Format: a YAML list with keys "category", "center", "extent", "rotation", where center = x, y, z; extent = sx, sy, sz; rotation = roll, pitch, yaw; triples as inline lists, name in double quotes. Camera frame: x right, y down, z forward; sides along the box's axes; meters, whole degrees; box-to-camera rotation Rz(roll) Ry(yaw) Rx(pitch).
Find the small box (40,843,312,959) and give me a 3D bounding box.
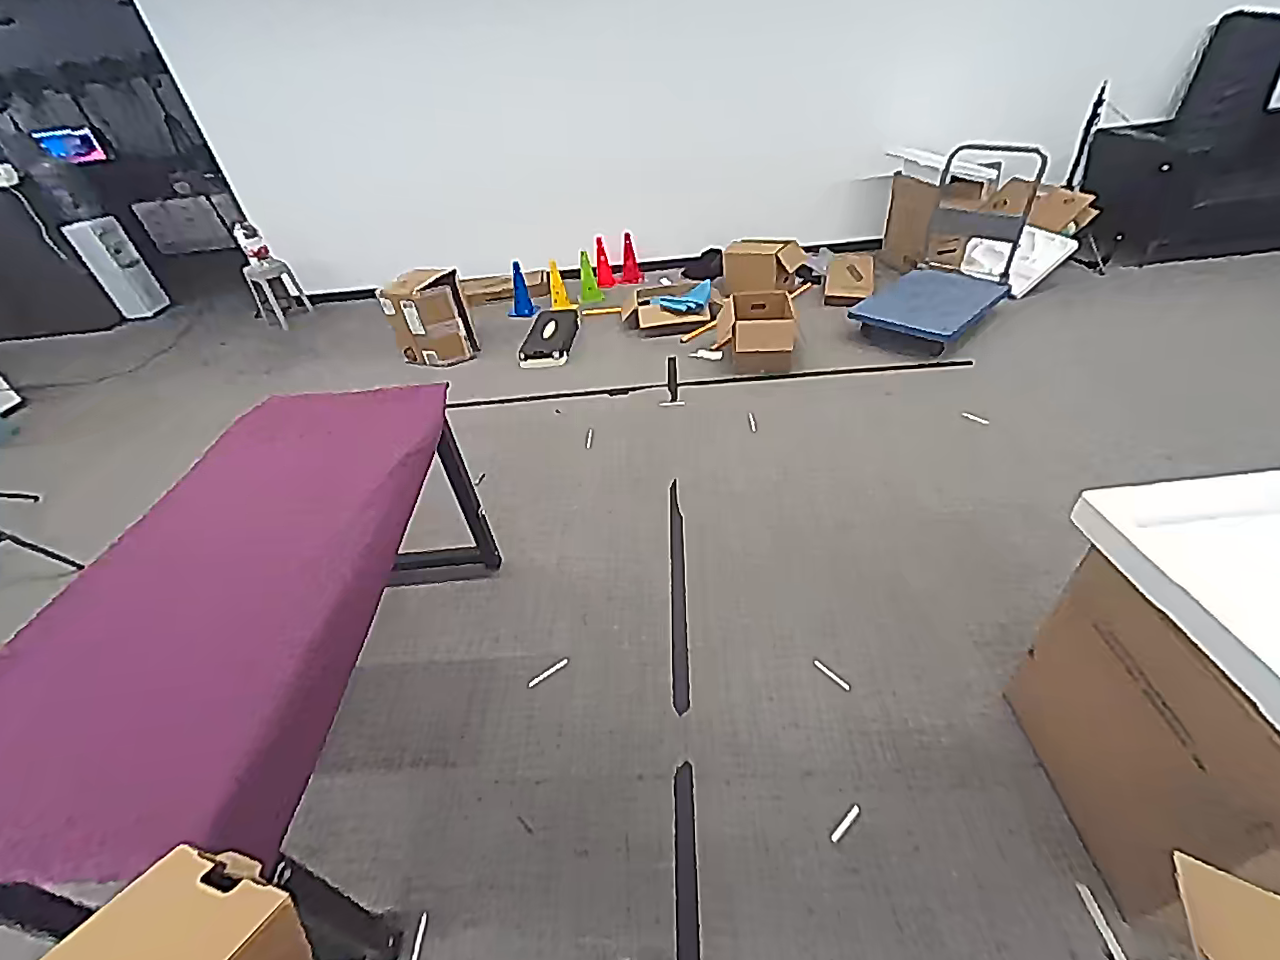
- category: "small box"
  center: [-0.425, 0.487, 0.487]
  extent: [0.168, 0.176, 0.179]
  rotation: [4, 19, 21]
